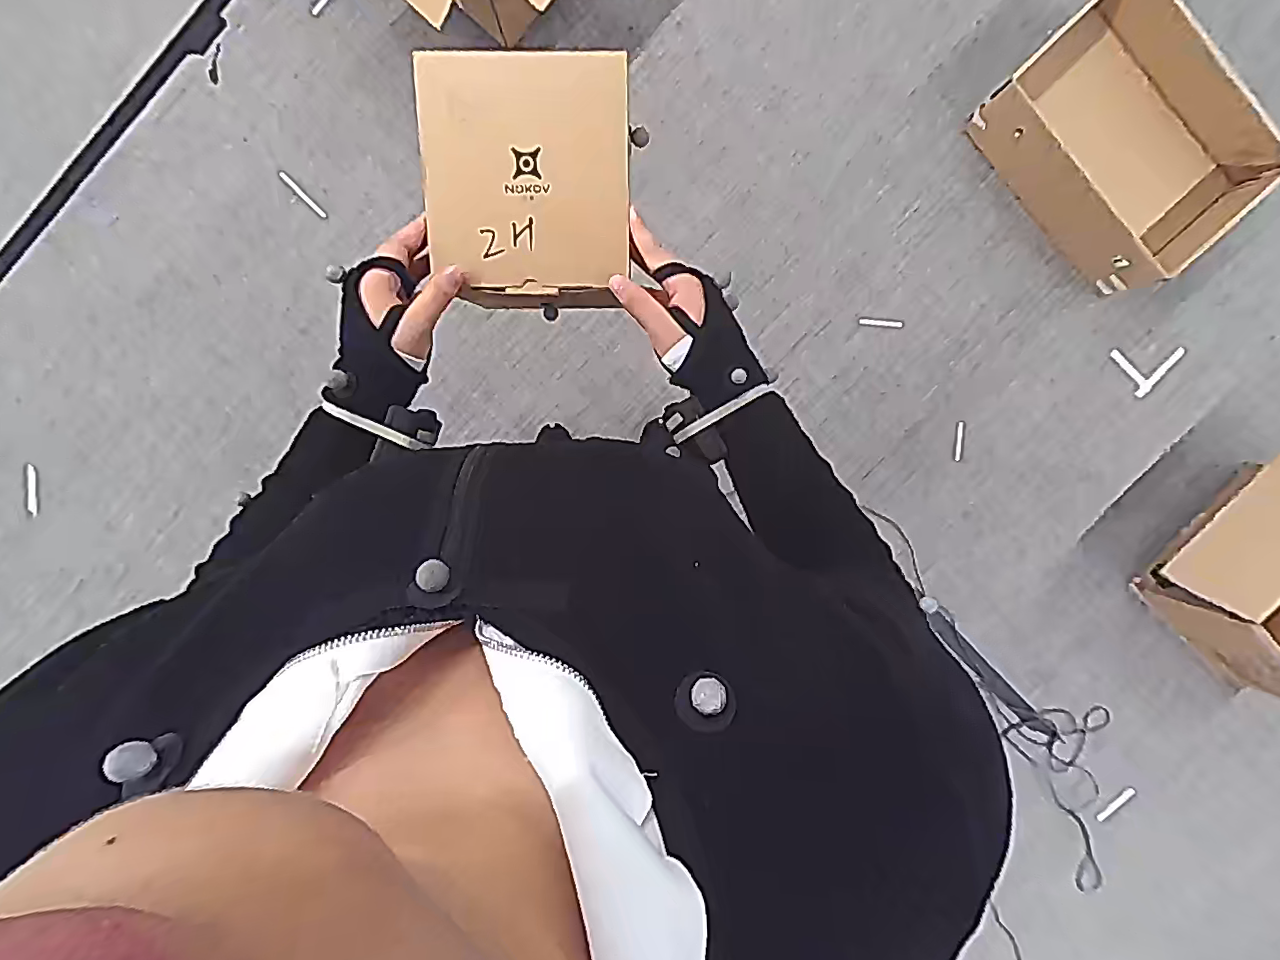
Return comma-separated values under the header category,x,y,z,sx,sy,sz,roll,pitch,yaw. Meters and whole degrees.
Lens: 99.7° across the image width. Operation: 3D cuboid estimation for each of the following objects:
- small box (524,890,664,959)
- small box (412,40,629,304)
category,x,y,z,sx,sy,sz,roll,pitch,yaw
small box,-0.070,0.736,0.754,0.168,0.176,0.179,37,94,-5
small box,-0.094,-0.266,0.507,0.168,0.176,0.179,0,103,0
